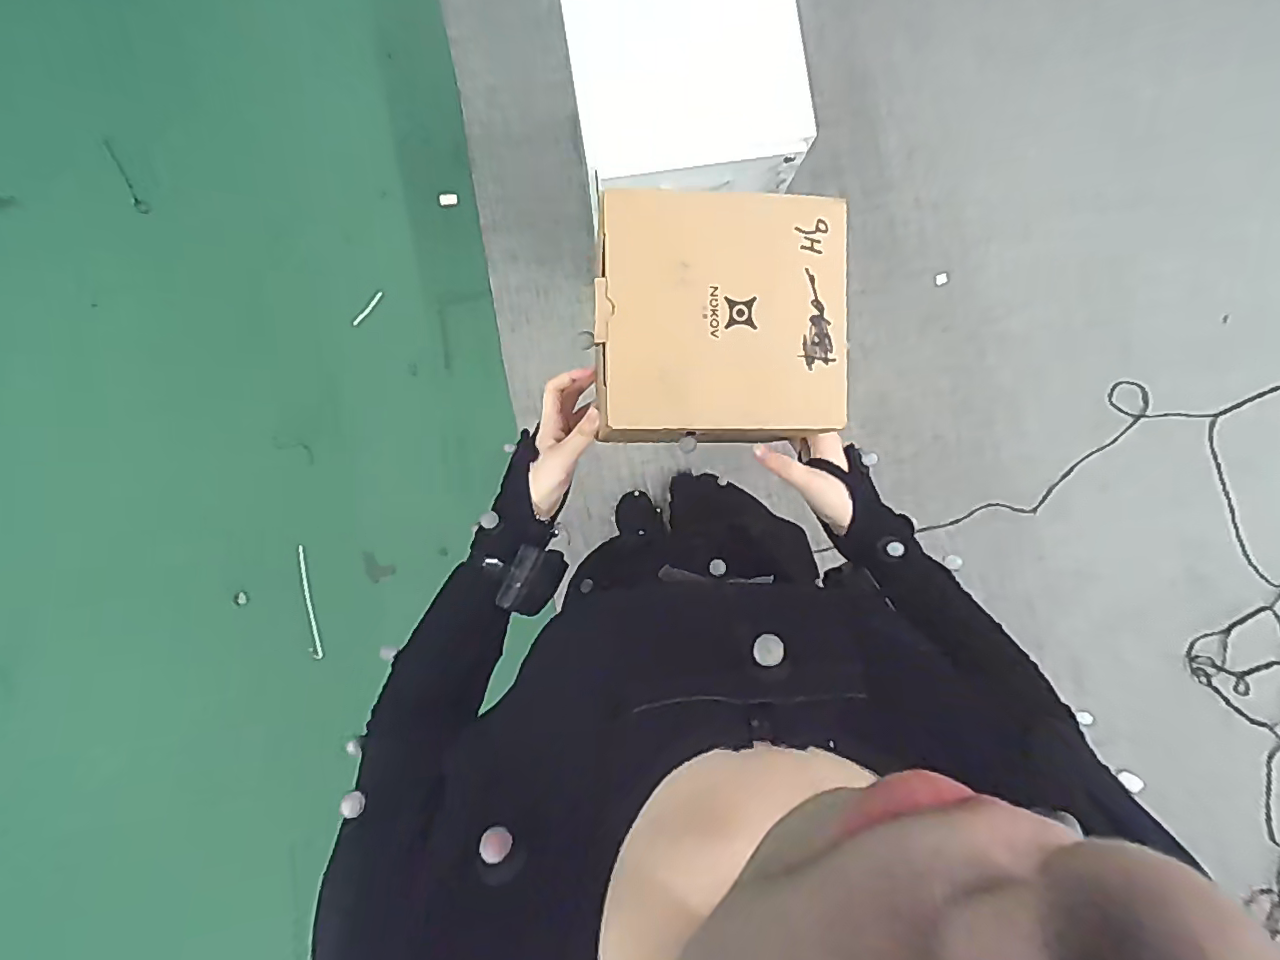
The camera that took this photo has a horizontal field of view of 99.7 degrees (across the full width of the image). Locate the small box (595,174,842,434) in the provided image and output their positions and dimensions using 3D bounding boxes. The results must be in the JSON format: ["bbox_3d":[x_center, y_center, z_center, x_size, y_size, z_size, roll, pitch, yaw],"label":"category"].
[{"bbox_3d":[0.050,-0.128,0.457,0.179,0.176,0.168,0,90,-6],"label":"small box"}]
